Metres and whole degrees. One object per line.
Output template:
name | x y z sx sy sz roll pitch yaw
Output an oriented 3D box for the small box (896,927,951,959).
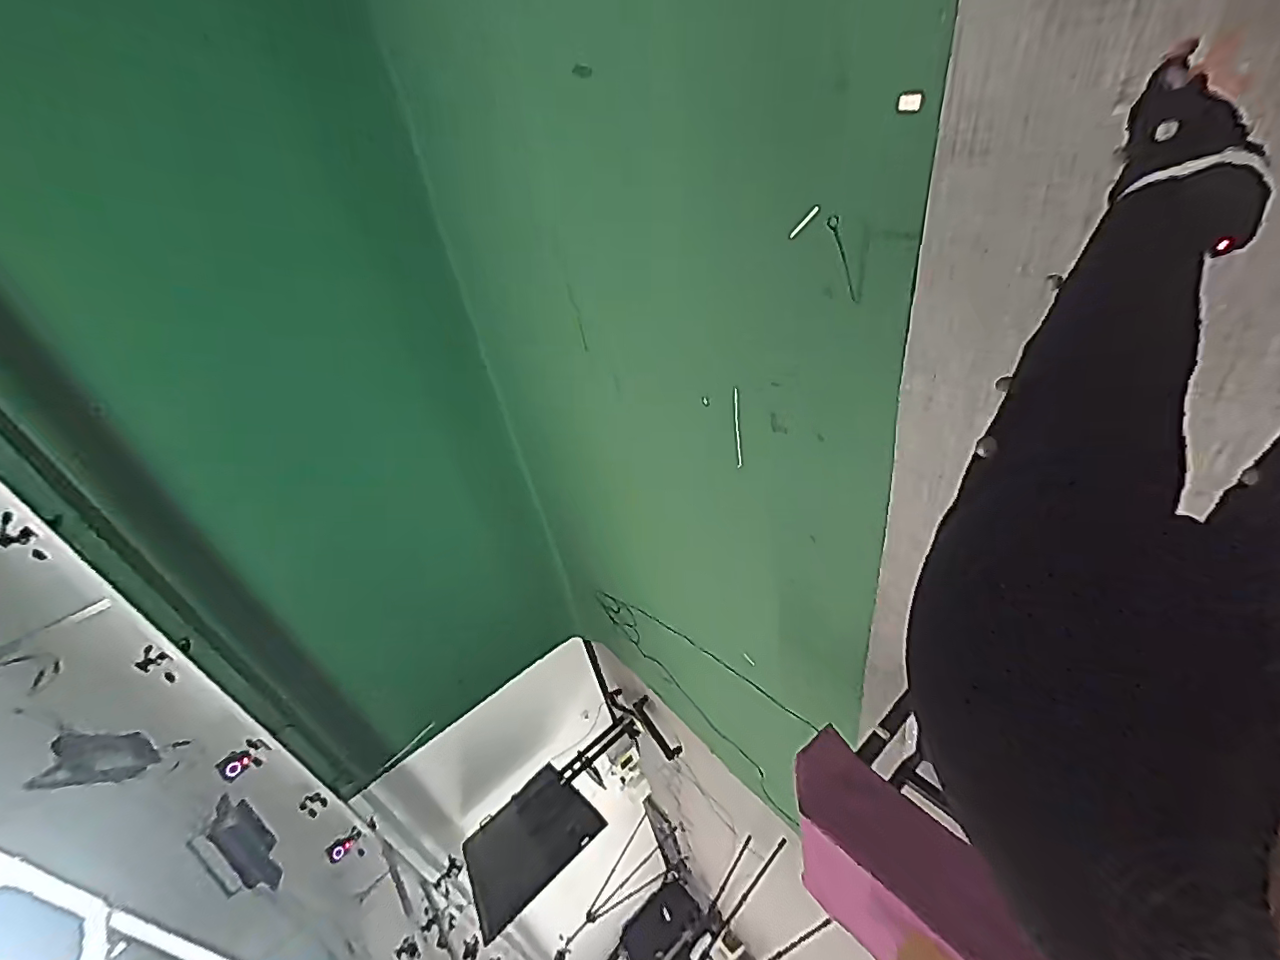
small box | 0.774 1.364 1.447 0.179 0.176 0.168 31 143 42
